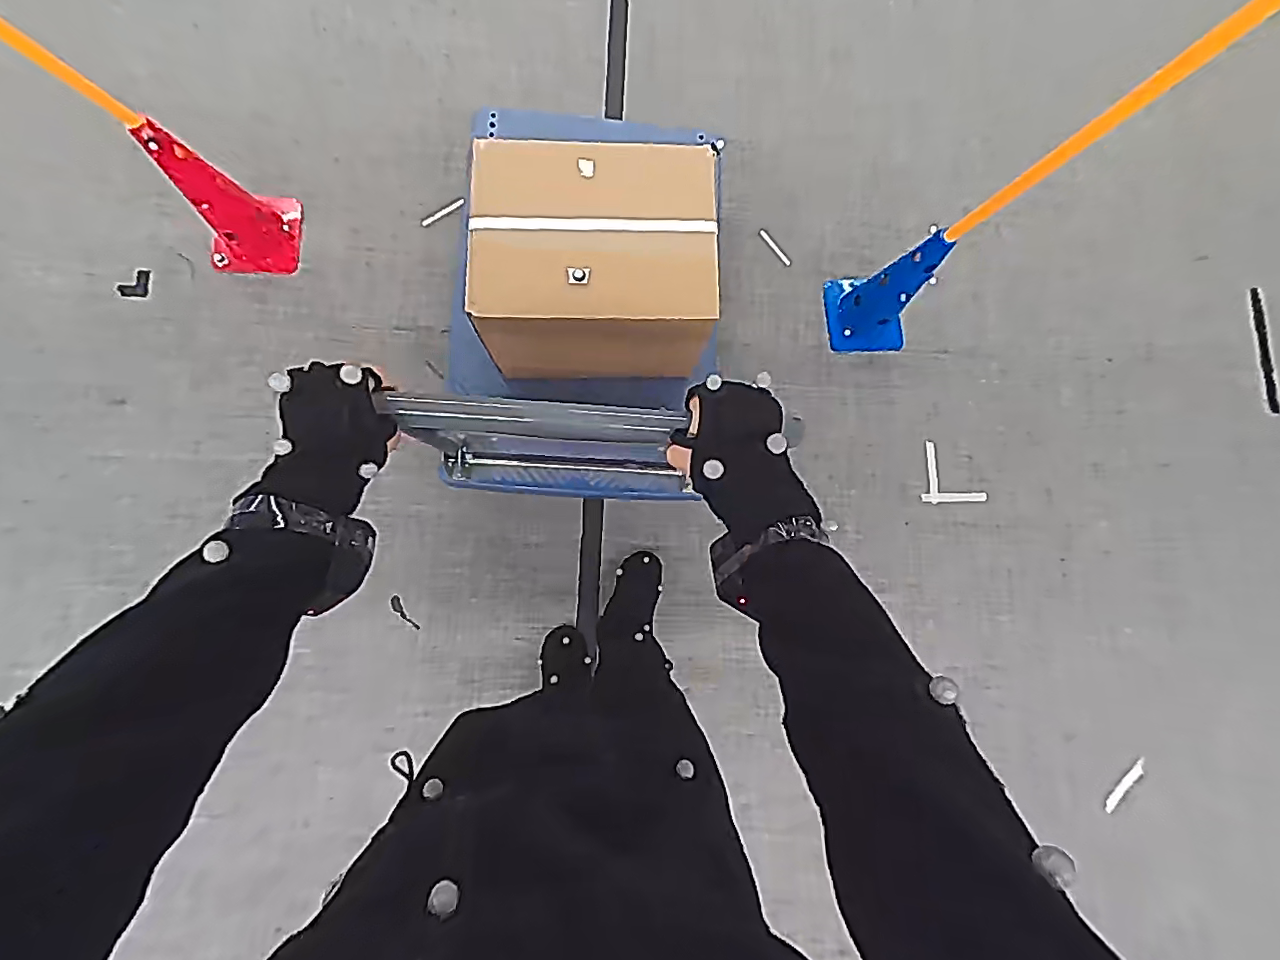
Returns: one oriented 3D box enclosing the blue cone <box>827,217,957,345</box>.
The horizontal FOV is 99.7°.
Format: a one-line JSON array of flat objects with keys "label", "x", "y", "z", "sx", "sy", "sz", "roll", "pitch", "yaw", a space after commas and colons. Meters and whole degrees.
[{"label": "blue cone", "x": 0.604, "y": -0.470, "z": 1.258, "sx": 0.193, "sy": 0.380, "sz": 0.192, "roll": -2, "pitch": 81, "yaw": -5}]
